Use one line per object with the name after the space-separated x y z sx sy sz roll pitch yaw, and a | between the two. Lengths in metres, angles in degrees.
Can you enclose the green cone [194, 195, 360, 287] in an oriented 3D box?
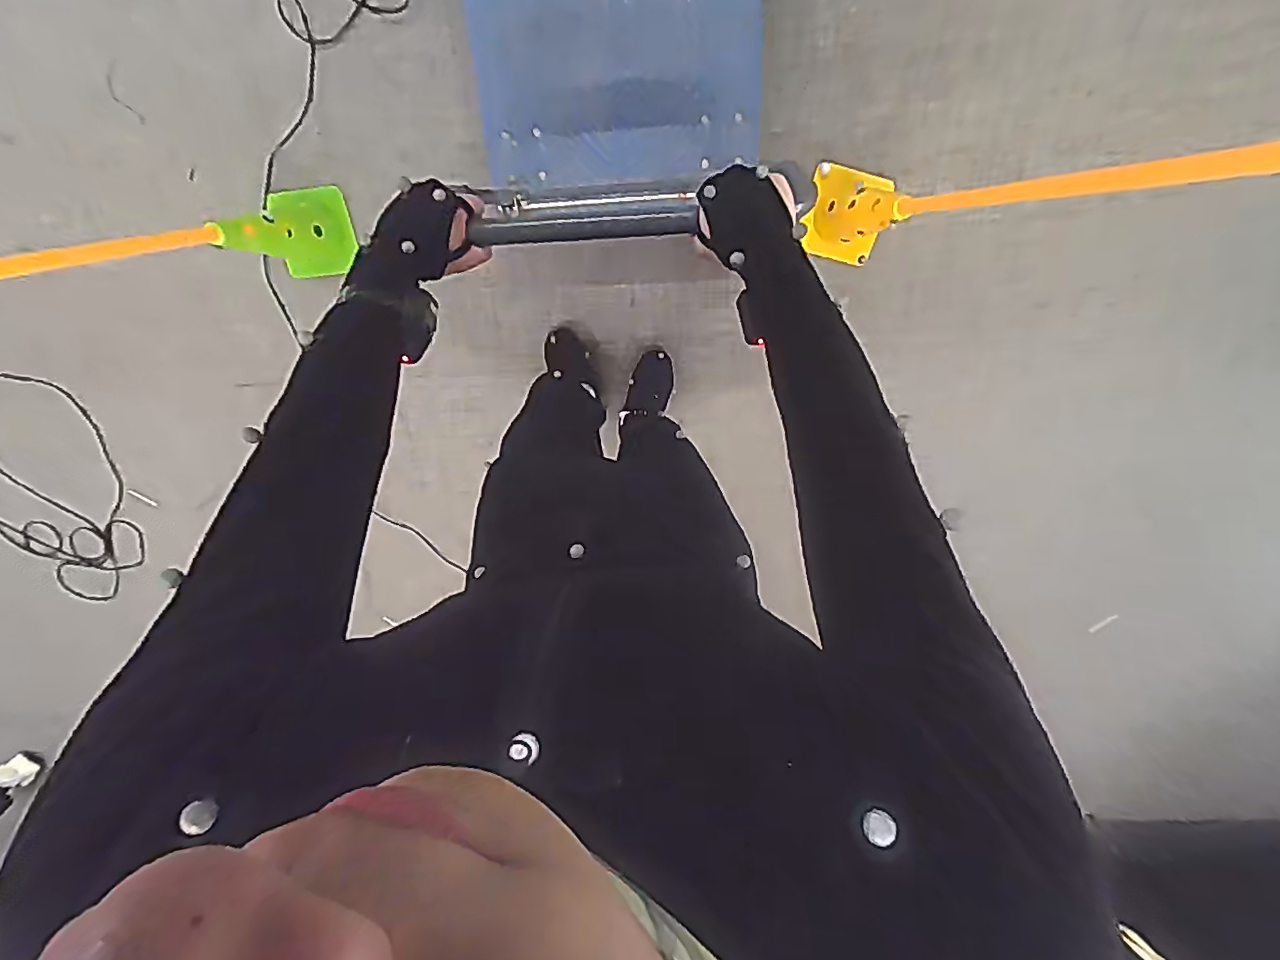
-0.839 -0.537 1.218 0.202 0.368 0.200 -5 113 5 | green cone
